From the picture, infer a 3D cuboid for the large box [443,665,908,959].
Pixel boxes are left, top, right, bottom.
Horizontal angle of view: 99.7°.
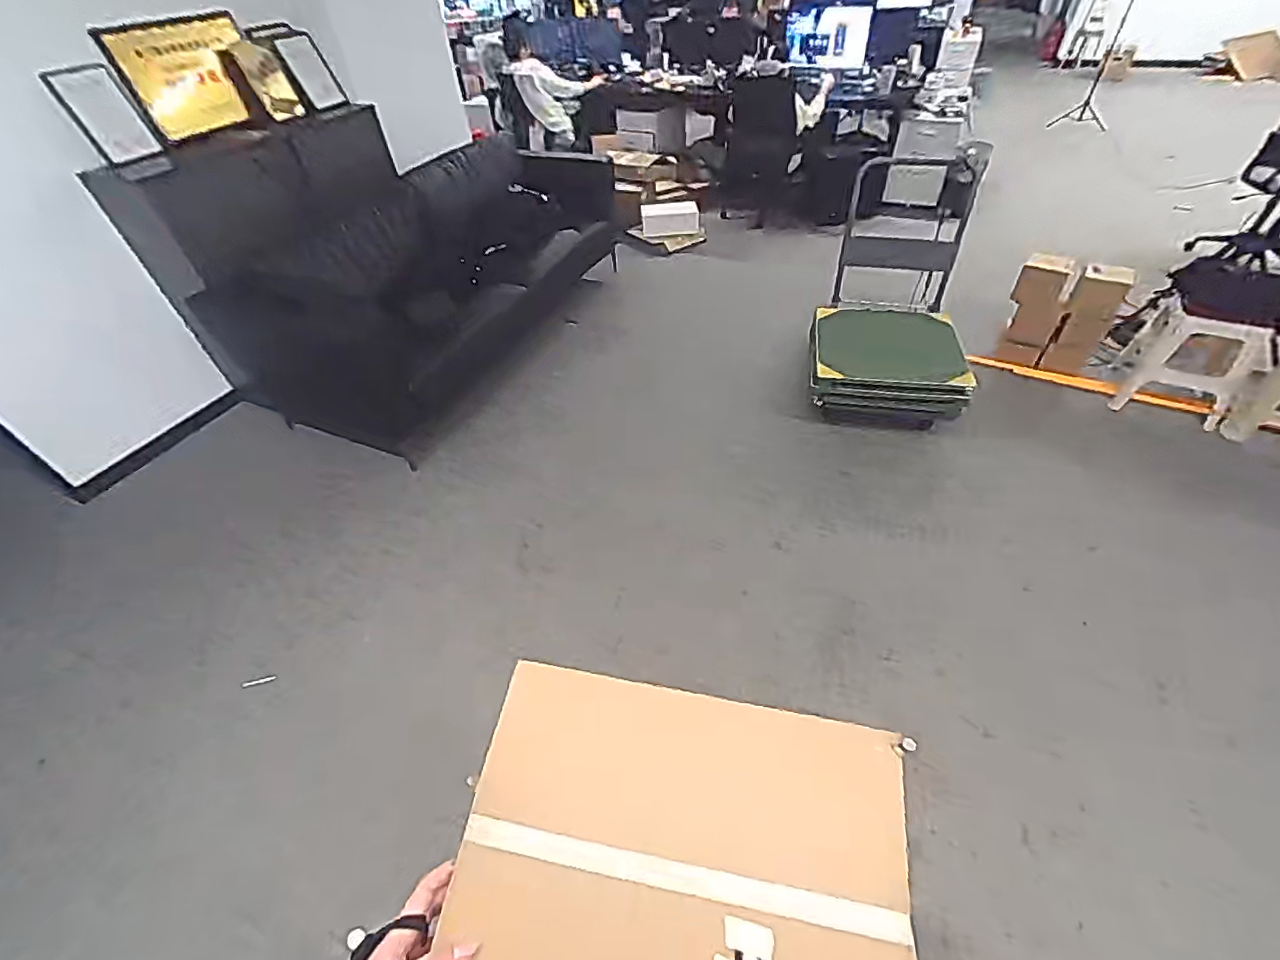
[{"bbox_3d":[0.041,0.434,0.627,0.408,0.320,0.320,8,59,6],"label":"large box"}]
